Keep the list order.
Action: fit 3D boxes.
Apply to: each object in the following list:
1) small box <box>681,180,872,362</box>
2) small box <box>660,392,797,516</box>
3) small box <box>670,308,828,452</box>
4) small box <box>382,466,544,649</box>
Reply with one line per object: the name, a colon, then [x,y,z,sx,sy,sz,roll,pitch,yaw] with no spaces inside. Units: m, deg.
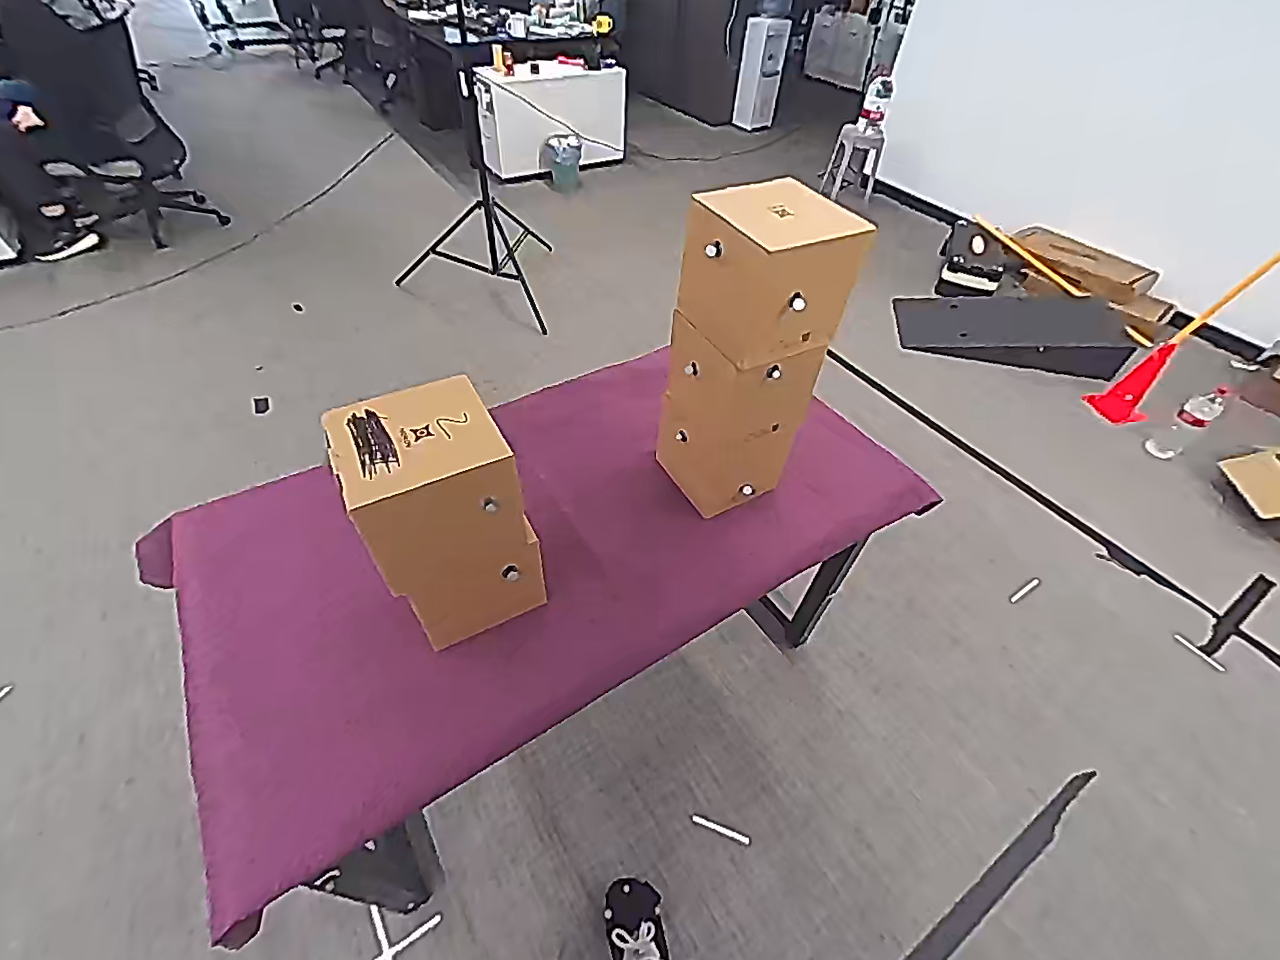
small box: [0.171,-0.279,0.738,0.168,0.176,0.179,-21,52,-20]
small box: [0.149,-0.067,0.986,0.168,0.176,0.179,-22,53,-21]
small box: [0.159,-0.174,0.862,0.168,0.176,0.179,-20,51,-20]
small box: [-0.250,0.114,0.795,0.179,0.176,0.168,-21,52,-21]
